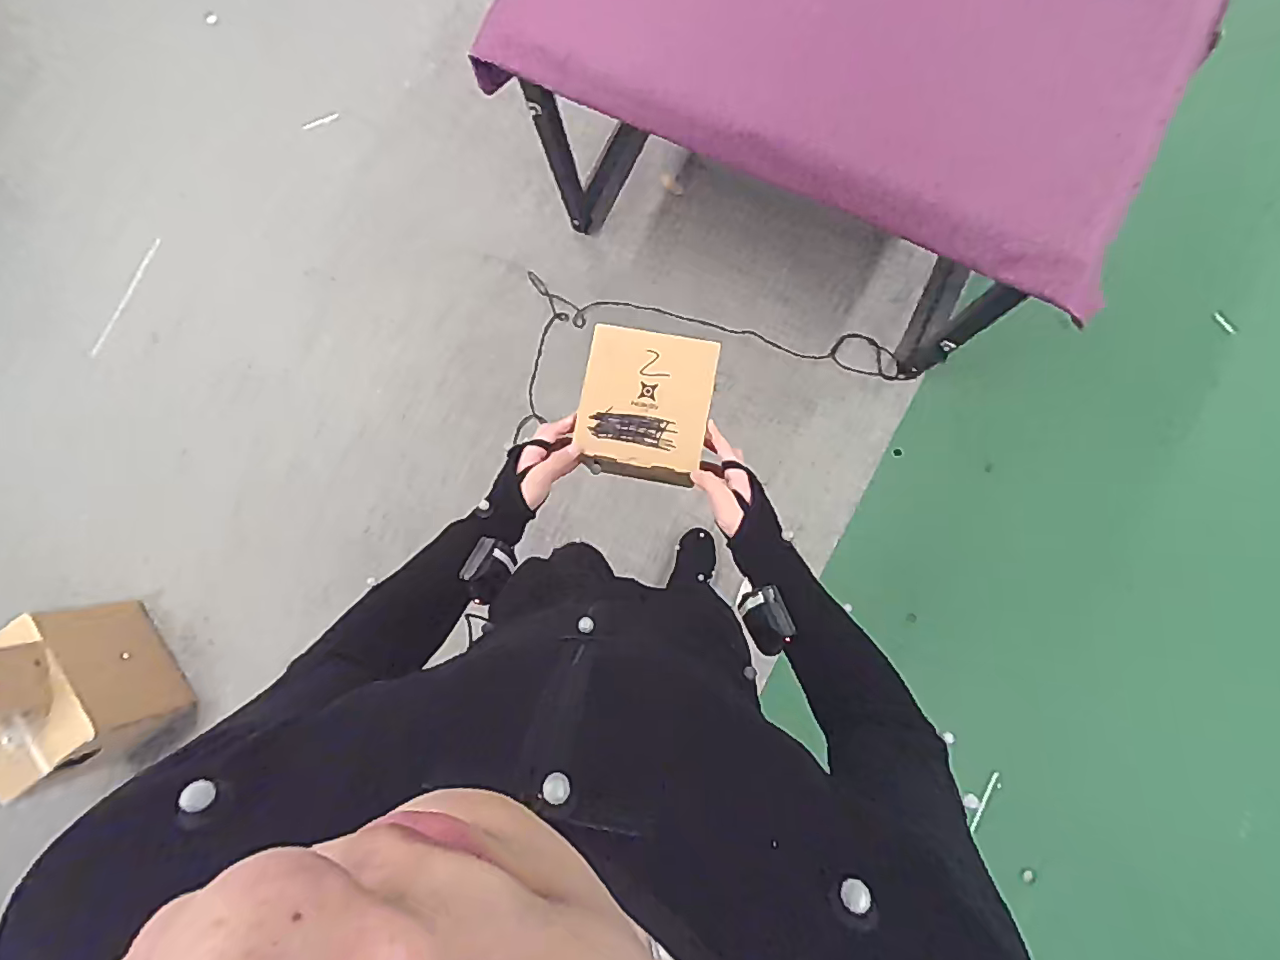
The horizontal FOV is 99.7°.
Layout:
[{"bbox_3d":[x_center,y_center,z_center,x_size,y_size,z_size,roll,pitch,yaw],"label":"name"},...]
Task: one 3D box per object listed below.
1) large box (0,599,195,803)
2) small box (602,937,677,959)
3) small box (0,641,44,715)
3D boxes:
[{"bbox_3d":[-1.650,0.613,1.581,0.320,0.320,0.408,-39,83,0],"label":"large box"},{"bbox_3d":[0.008,1.124,1.144,0.168,0.176,0.179,-23,83,3],"label":"small box"},{"bbox_3d":[-1.664,0.516,1.345,0.179,0.176,0.168,-19,83,1],"label":"small box"}]
